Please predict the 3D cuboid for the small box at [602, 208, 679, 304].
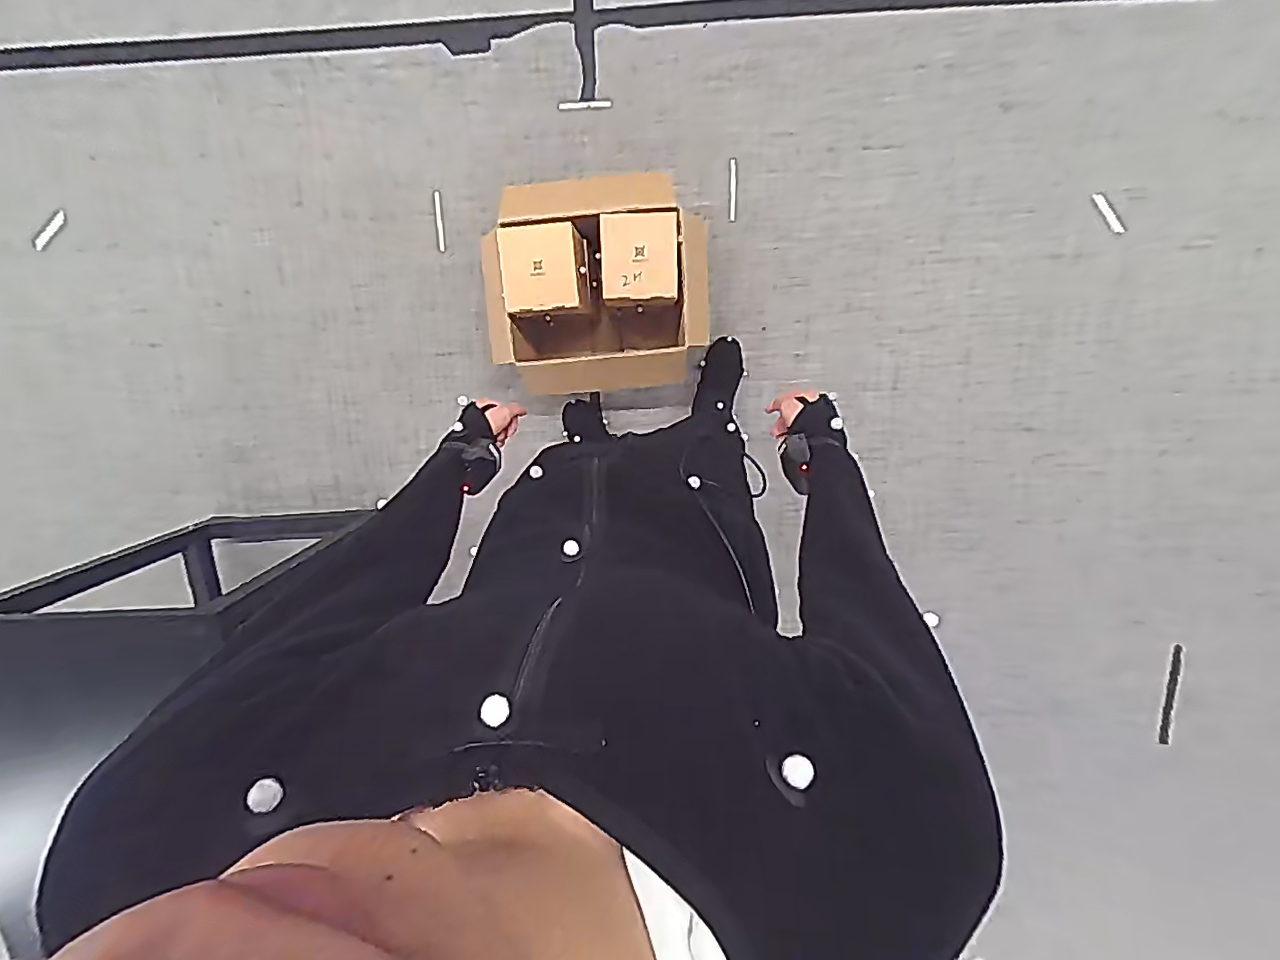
[{"bbox_3d":[0.001,-0.501,1.229,0.168,0.176,0.179,0,103,1],"label":"small box"}]
